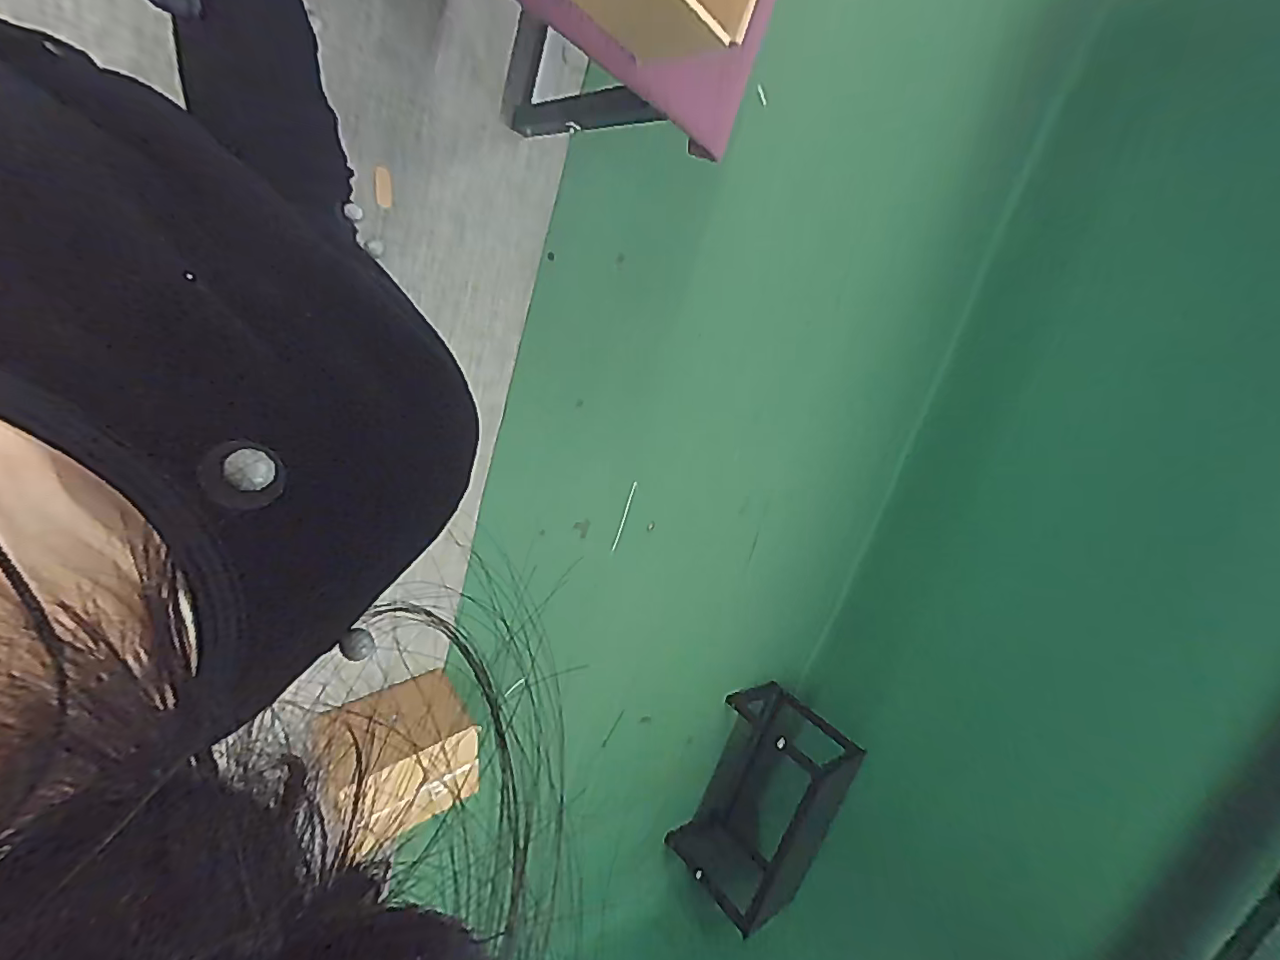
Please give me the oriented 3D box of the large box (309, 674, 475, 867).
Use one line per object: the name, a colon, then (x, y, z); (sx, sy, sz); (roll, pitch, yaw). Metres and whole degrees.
large box: (-0.790, 0.907, 1.746); (0.408, 0.320, 0.320); (-14, 121, -40)
